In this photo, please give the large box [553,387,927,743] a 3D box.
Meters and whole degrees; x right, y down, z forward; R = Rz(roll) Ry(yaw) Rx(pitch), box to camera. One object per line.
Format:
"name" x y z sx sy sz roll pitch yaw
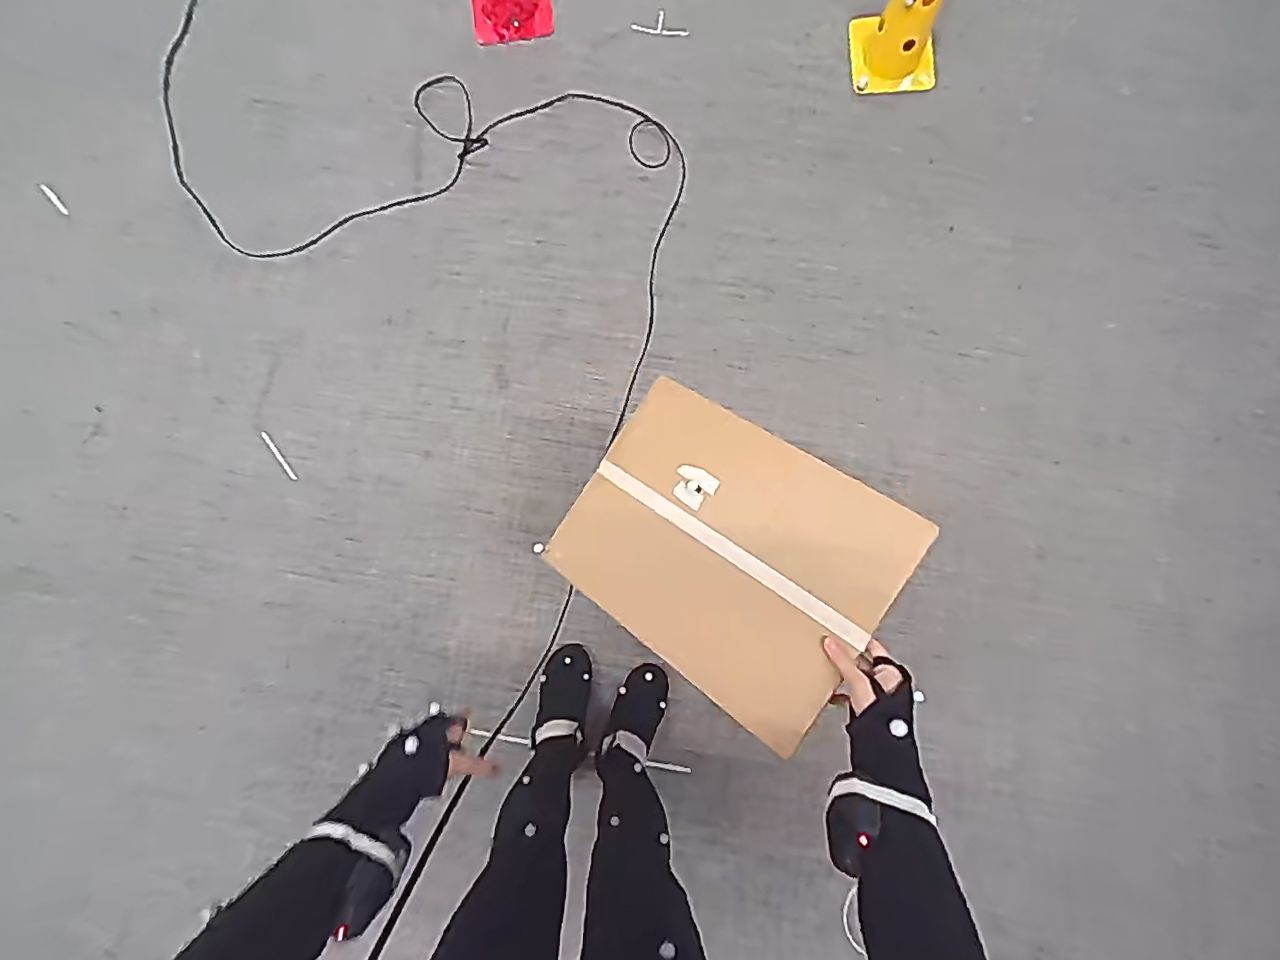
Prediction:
"large box" 0.158 0.121 0.838 0.408 0.320 0.320 35 89 27
